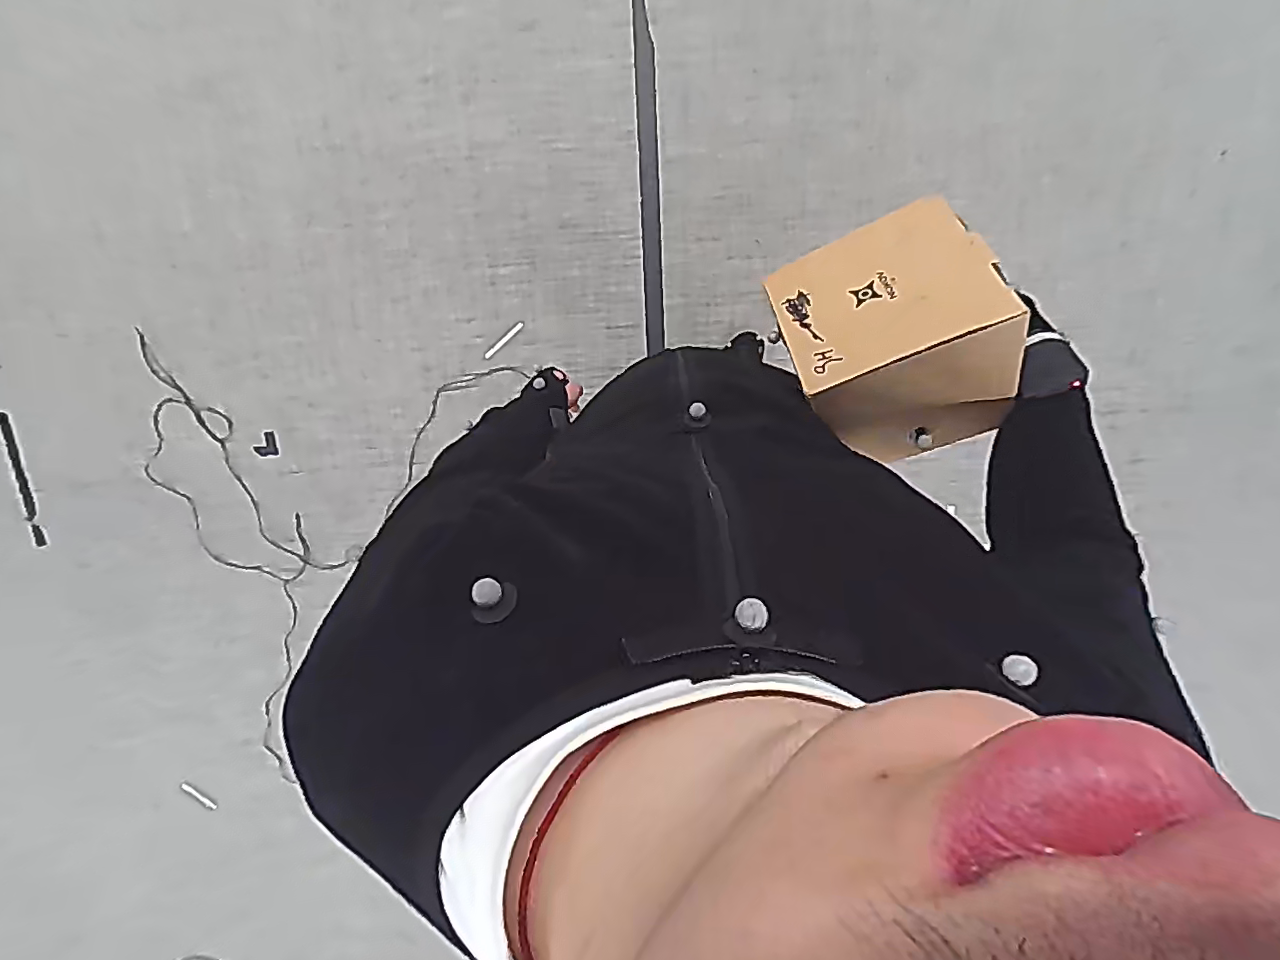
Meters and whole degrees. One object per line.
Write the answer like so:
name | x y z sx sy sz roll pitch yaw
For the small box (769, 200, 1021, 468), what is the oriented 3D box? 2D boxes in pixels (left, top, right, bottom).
small box | 0.255 -0.139 0.564 0.179 0.168 0.176 -20 145 19
